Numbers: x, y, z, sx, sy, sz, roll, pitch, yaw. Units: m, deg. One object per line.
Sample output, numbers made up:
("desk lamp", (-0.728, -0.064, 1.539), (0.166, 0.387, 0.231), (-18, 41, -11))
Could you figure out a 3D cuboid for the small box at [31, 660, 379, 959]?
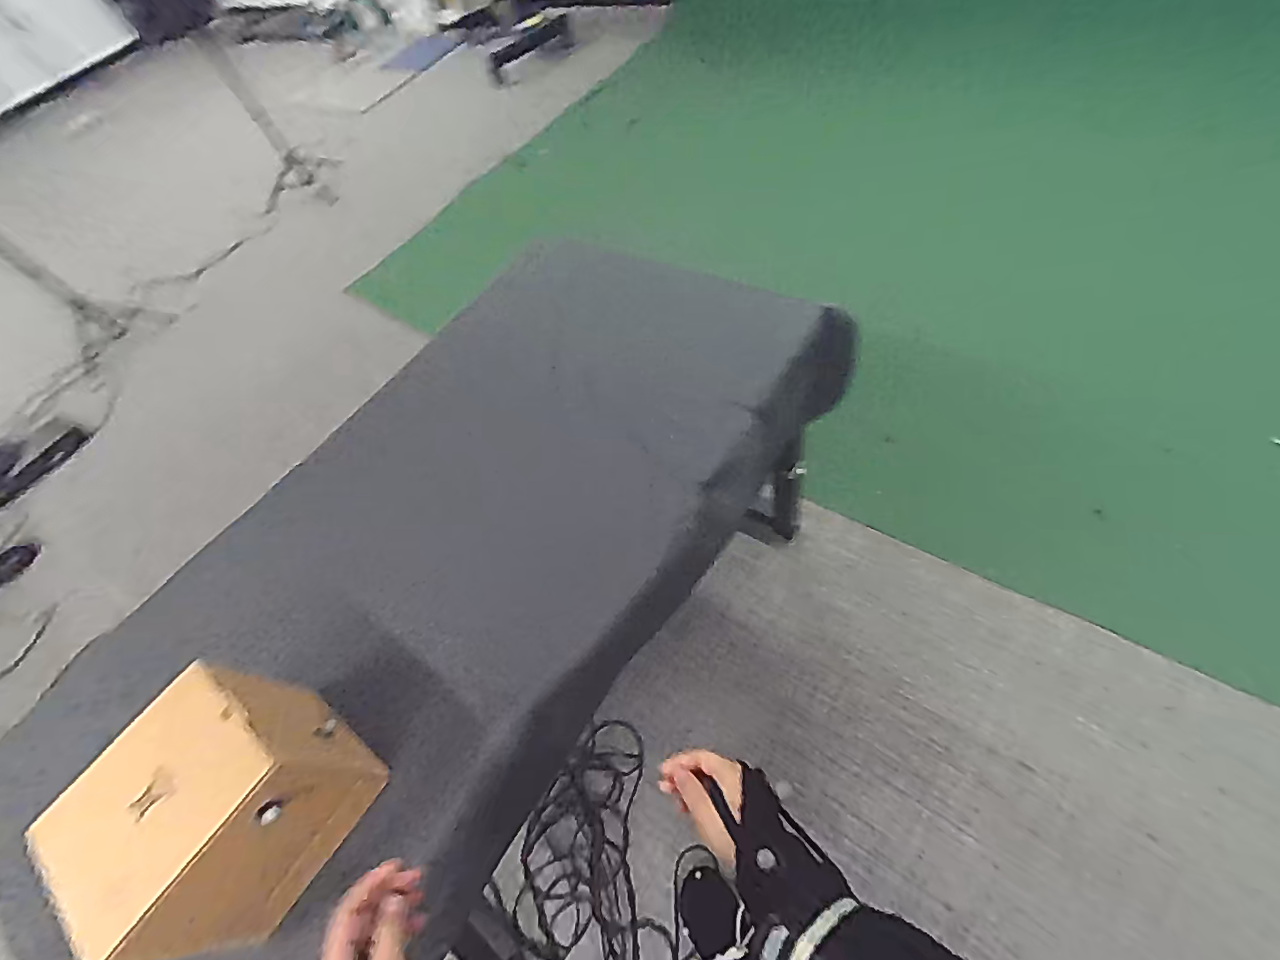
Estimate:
("small box", (-0.405, 0.316, 0.531), (0.168, 0.176, 0.179), (25, 66, 27))
